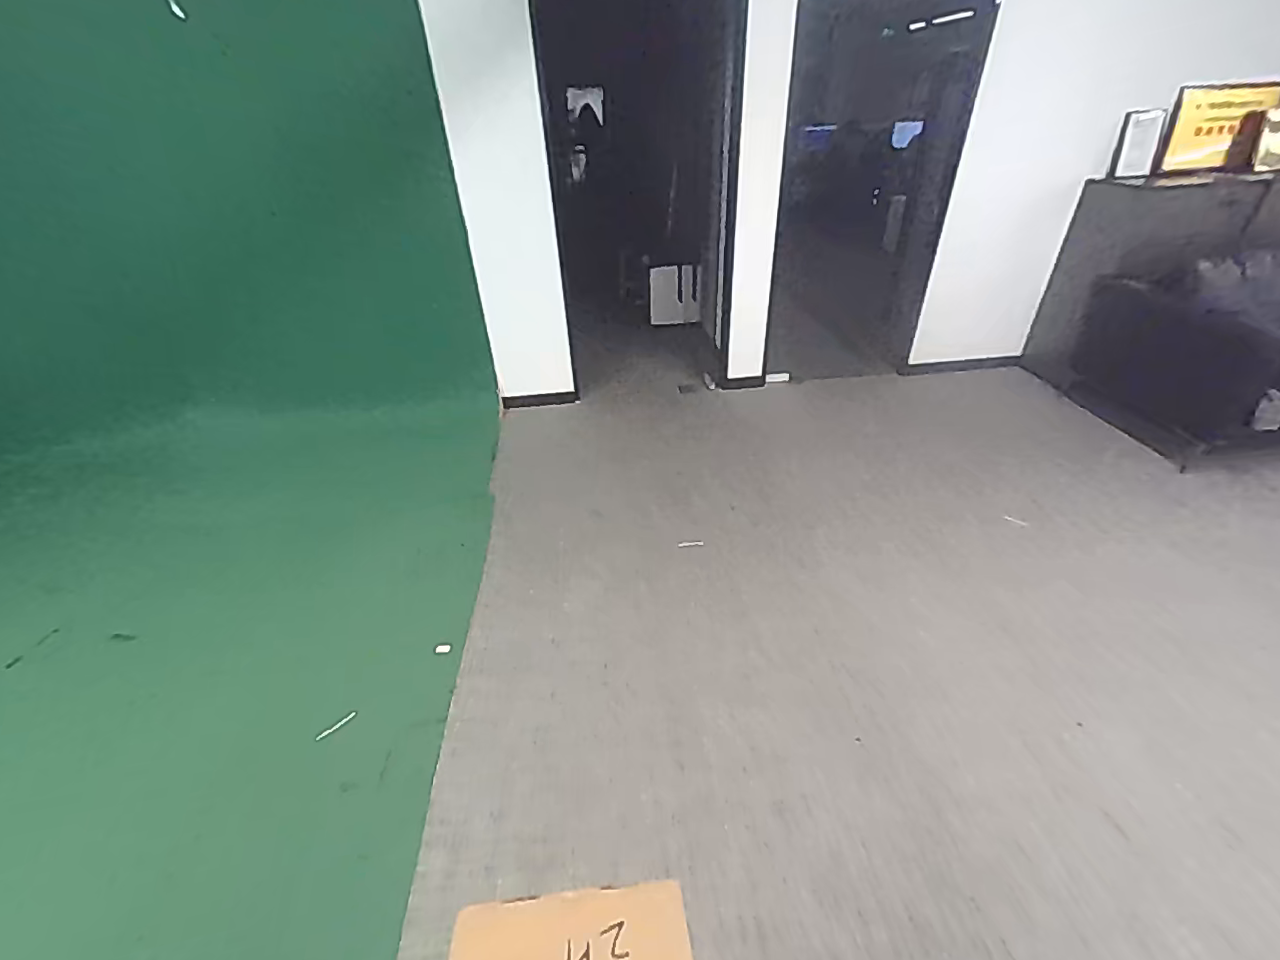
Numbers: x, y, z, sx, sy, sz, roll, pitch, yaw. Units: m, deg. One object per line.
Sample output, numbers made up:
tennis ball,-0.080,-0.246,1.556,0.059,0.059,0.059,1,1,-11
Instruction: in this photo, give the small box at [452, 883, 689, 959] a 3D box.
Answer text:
small box,-0.044,0.421,0.363,0.168,0.176,0.179,-1,24,-6
